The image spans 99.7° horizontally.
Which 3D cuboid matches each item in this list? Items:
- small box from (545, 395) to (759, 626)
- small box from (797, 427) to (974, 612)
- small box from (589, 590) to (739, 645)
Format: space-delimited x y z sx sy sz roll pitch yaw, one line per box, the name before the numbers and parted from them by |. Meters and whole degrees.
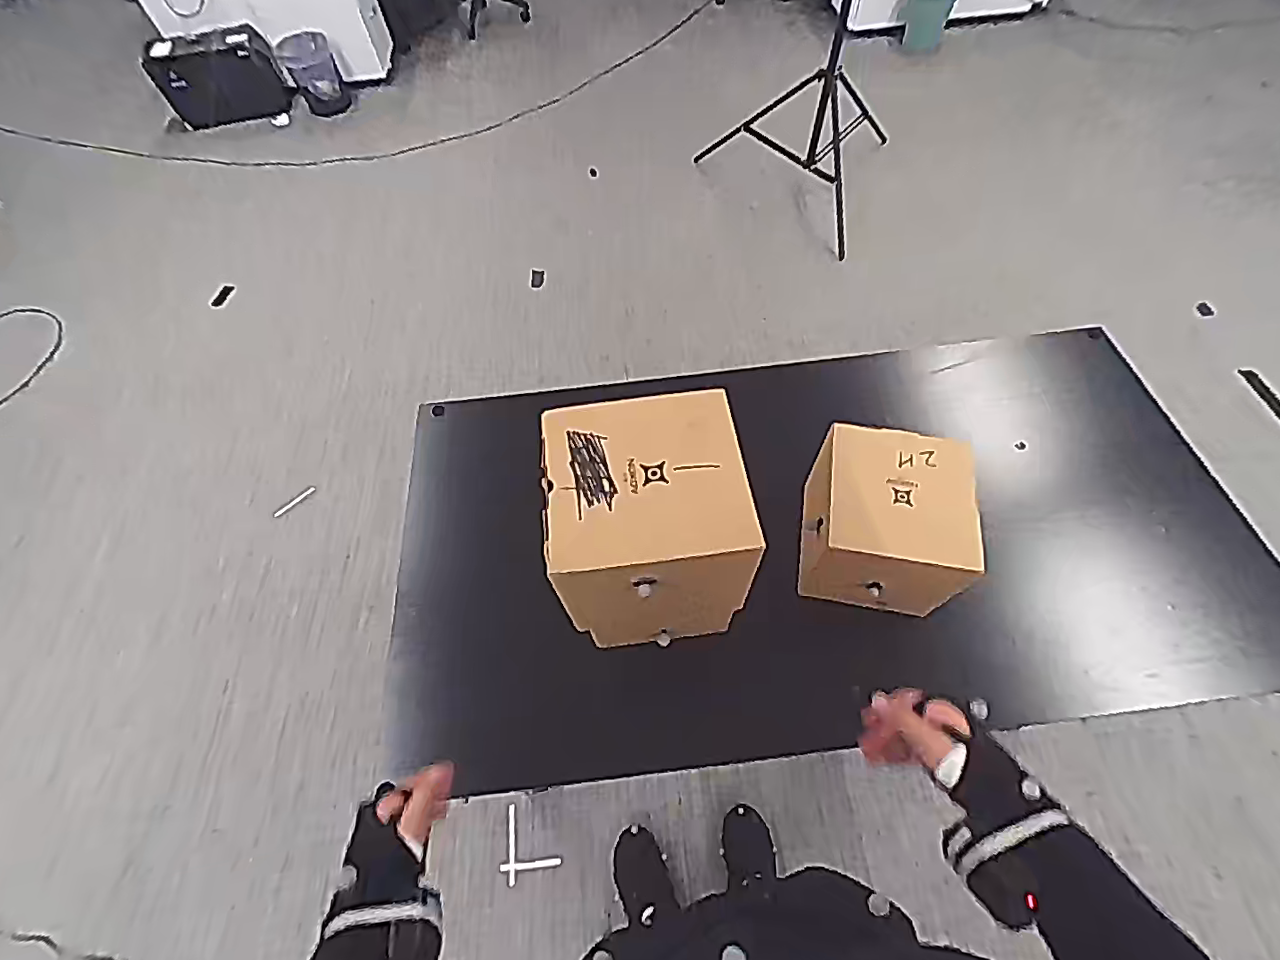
small box | 0.008 0.039 0.546 0.179 0.176 0.168 -7 60 -1
small box | 0.308 0.058 0.709 0.168 0.176 0.179 9 60 8
small box | 0.017 0.105 0.699 0.179 0.176 0.168 -7 59 -2
